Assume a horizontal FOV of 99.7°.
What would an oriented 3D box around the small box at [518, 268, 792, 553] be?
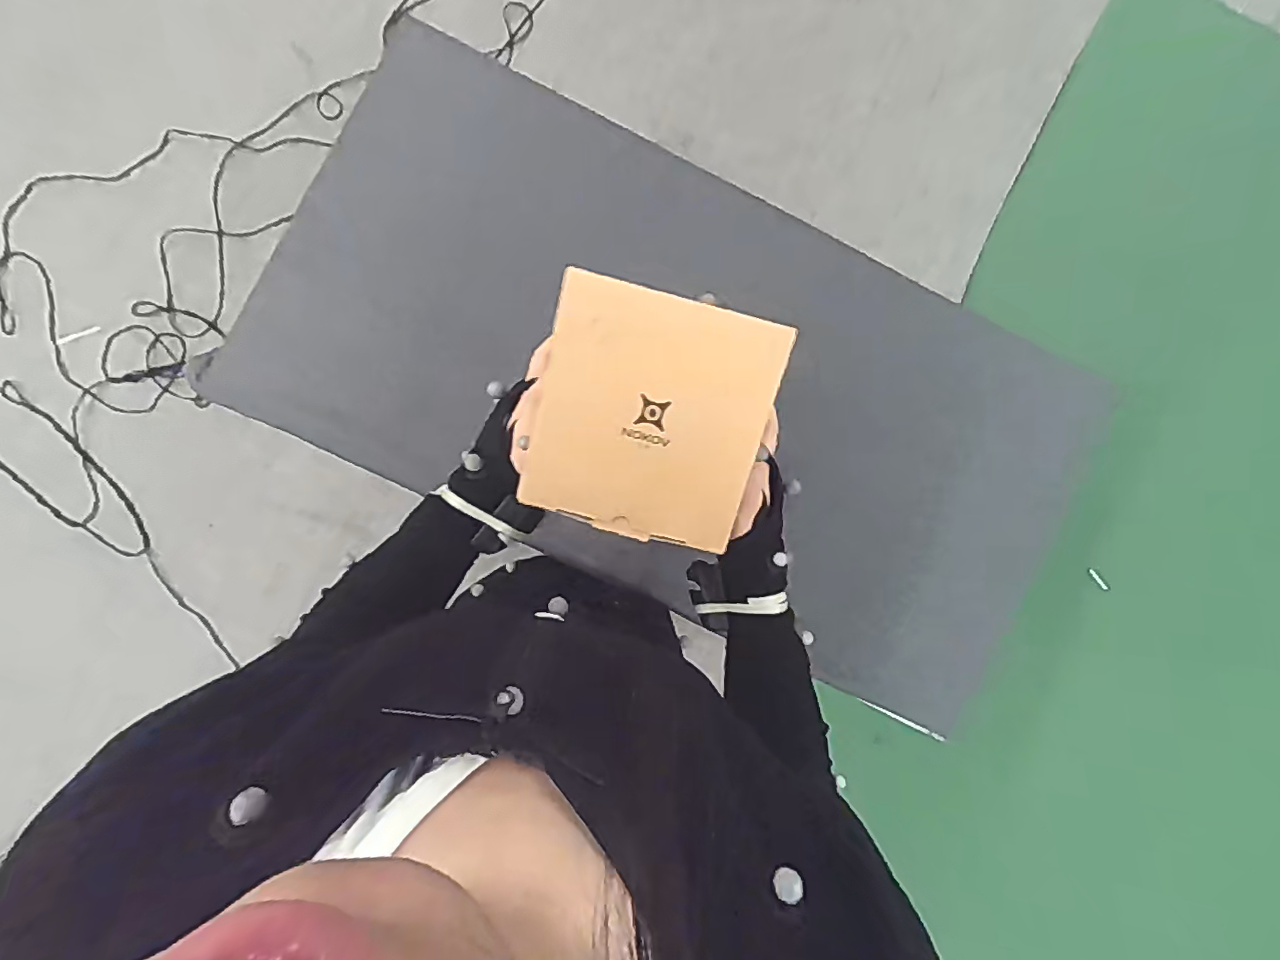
[{"bbox_3d":[0.007,-0.064,0.466,0.168,0.176,0.179,14,105,-3],"label":"small box"}]
